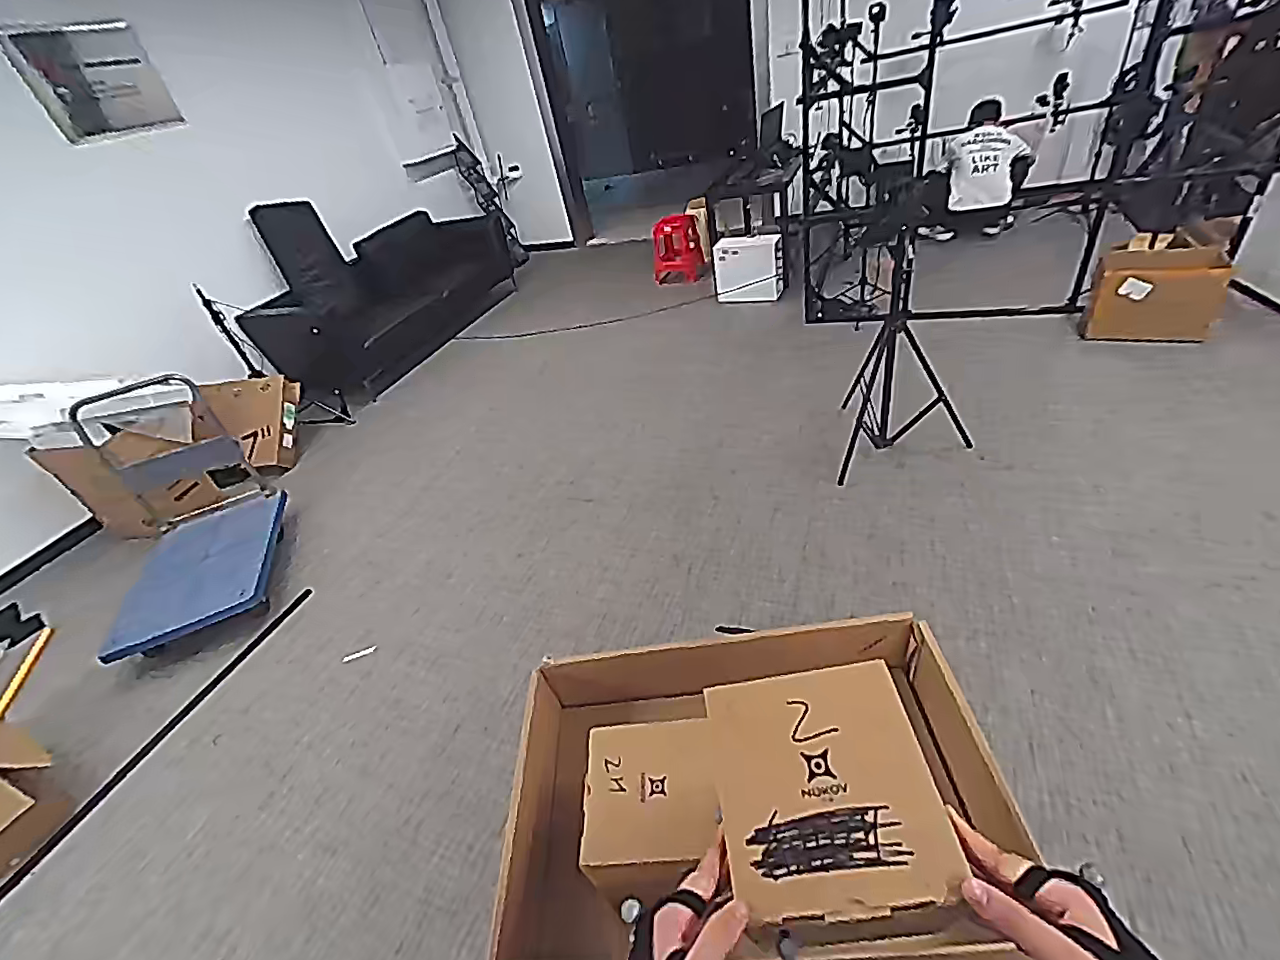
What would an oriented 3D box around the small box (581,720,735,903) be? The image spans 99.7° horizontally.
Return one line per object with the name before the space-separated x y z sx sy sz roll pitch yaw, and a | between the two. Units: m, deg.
small box | 0.032 0.450 0.733 0.179 0.176 0.168 -8 38 7
